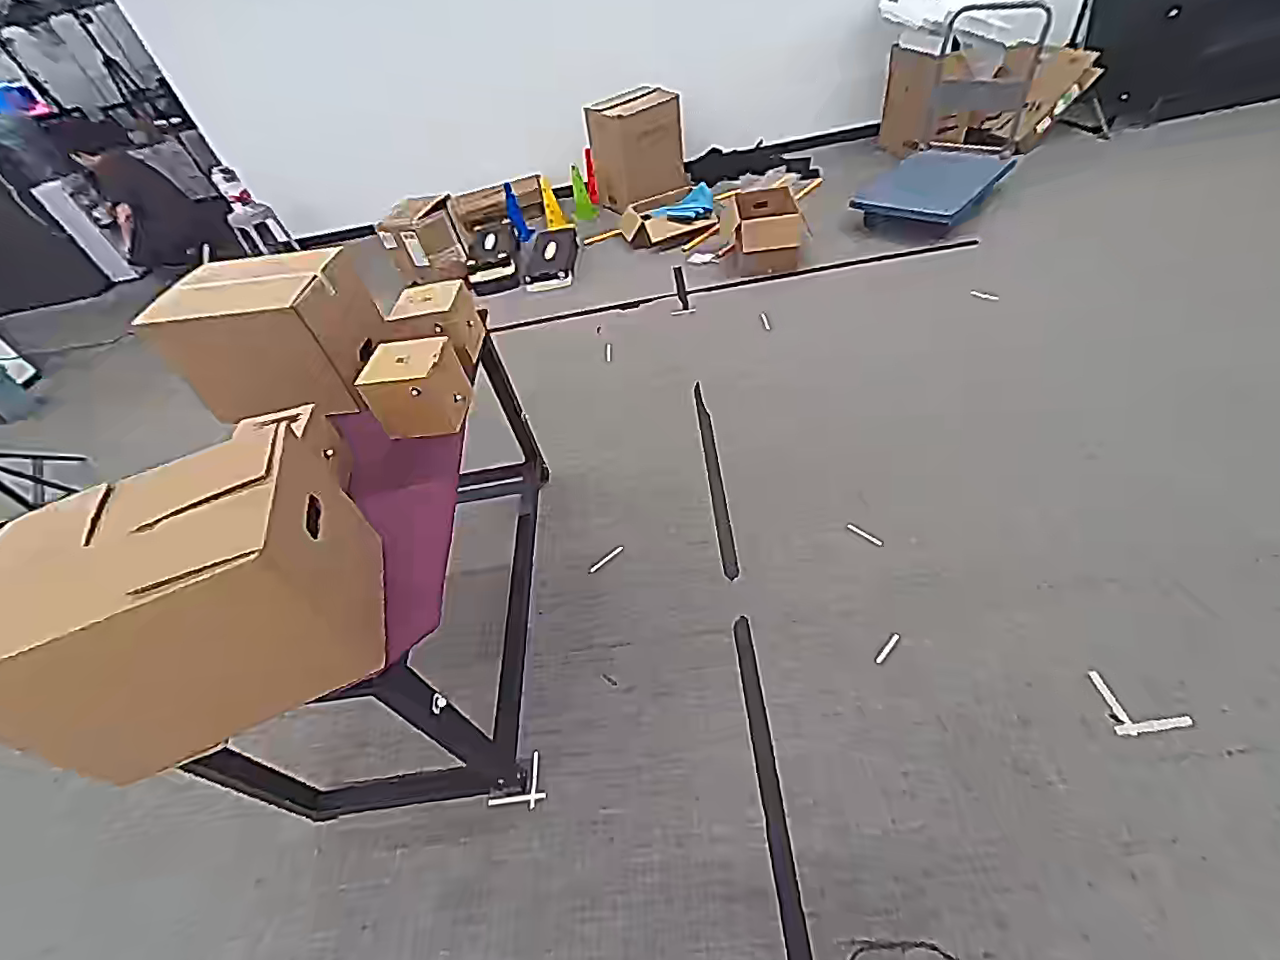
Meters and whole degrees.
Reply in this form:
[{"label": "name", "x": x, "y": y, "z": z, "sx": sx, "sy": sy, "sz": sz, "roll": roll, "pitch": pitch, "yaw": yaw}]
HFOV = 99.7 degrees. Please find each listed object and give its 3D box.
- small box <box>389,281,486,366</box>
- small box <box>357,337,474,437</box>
[{"label": "small box", "x": -0.545, "y": -0.418, "z": 1.484, "sx": 0.179, "sy": 0.176, "sz": 0.168, "roll": -8, "pitch": 46, "yaw": 8}, {"label": "small box", "x": -0.526, "y": -0.218, "z": 1.294, "sx": 0.179, "sy": 0.176, "sz": 0.168, "roll": -5, "pitch": 46, "yaw": 7}]
